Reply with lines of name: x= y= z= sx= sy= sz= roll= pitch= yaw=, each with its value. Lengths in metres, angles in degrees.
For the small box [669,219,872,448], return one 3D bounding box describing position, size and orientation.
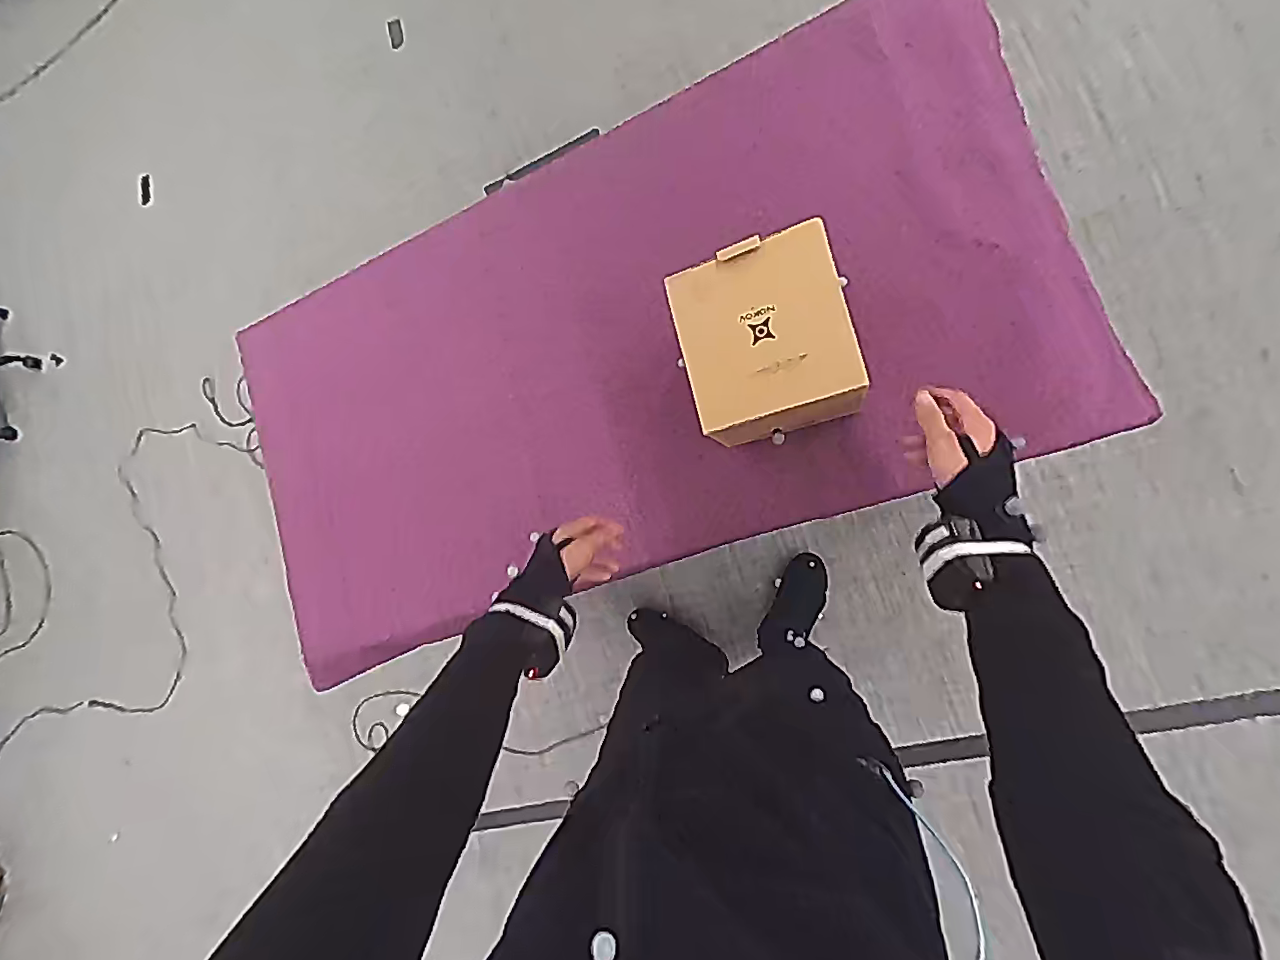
small box: x=0.147 y=-0.145 z=0.606 sx=0.168 sy=0.176 sz=0.179 roll=-15 pitch=83 yaw=18
